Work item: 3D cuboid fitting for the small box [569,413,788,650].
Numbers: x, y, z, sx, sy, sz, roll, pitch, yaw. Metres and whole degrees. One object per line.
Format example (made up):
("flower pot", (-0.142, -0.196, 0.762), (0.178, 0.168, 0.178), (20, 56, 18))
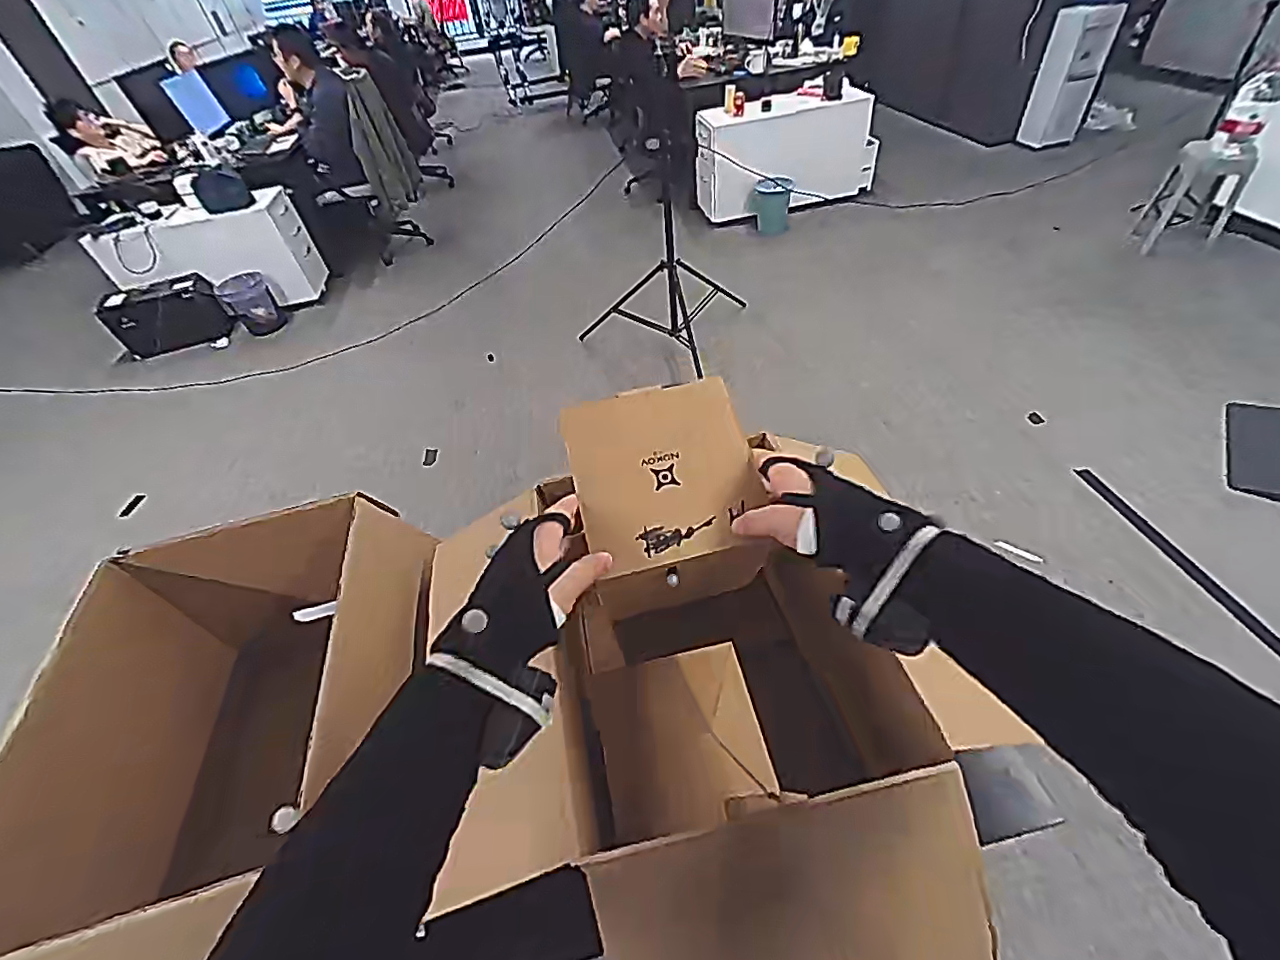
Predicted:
("small box", (0.026, 0.060, 0.554), (0.168, 0.176, 0.179), (-12, 66, -6))
